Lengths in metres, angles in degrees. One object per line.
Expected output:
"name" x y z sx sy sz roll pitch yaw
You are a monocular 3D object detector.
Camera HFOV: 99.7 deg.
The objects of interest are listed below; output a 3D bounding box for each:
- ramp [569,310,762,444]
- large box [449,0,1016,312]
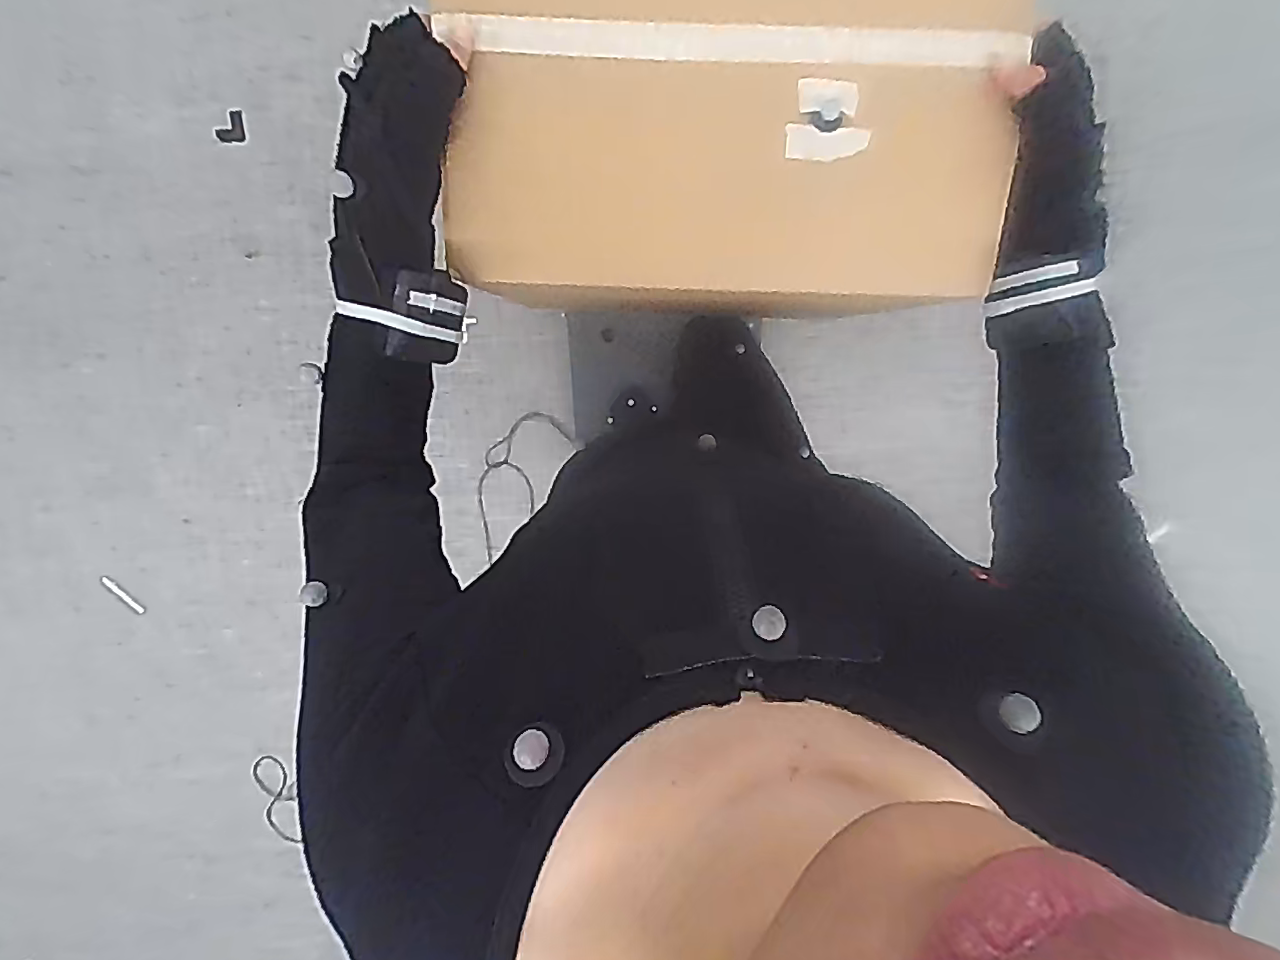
"ramp" 0.060 -0.576 1.302 0.509 0.206 0.991 -5 101 -1
"large box" 0.060 -0.338 0.529 0.408 0.320 0.320 1 104 -1
